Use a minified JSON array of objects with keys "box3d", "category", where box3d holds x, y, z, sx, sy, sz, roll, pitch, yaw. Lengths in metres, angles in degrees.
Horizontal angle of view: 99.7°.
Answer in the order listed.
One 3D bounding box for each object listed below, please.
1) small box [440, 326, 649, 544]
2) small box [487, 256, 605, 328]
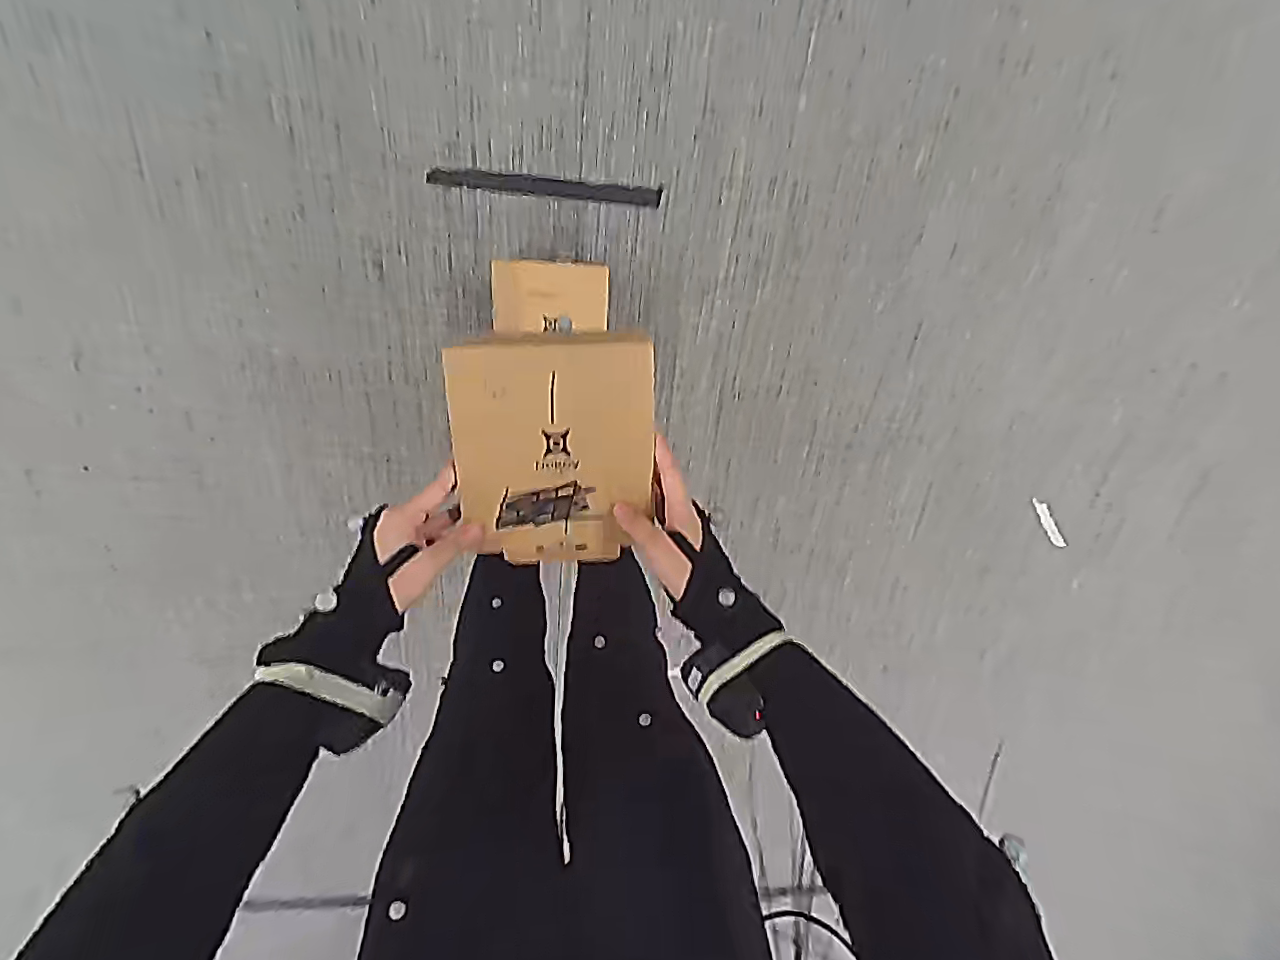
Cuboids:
[{"box3d":[-0.080,-0.053,0.525,0.168,0.176,0.179,-2,109,-5],"category":"small box"},{"box3d":[-0.144,-0.257,0.860,0.168,0.176,0.179,0,113,-7],"category":"small box"}]
